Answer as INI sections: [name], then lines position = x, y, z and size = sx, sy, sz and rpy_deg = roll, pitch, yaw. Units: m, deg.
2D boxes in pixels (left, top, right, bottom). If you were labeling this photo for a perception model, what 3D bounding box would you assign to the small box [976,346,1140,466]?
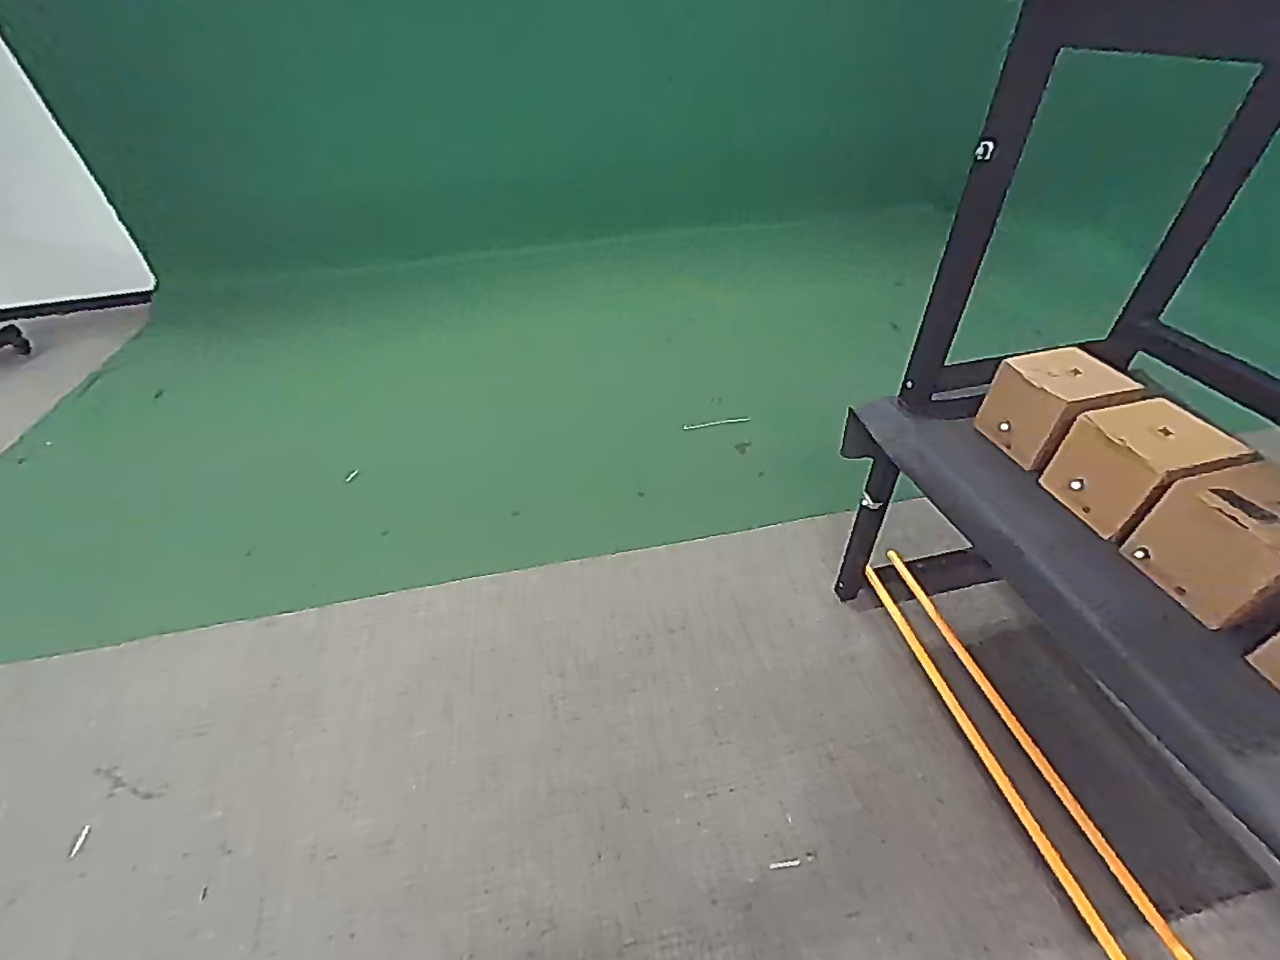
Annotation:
[small box]
position = 0.843, -0.151, 1.114
size = 0.179, 0.176, 0.168
rpy_deg = -11, 42, -8
